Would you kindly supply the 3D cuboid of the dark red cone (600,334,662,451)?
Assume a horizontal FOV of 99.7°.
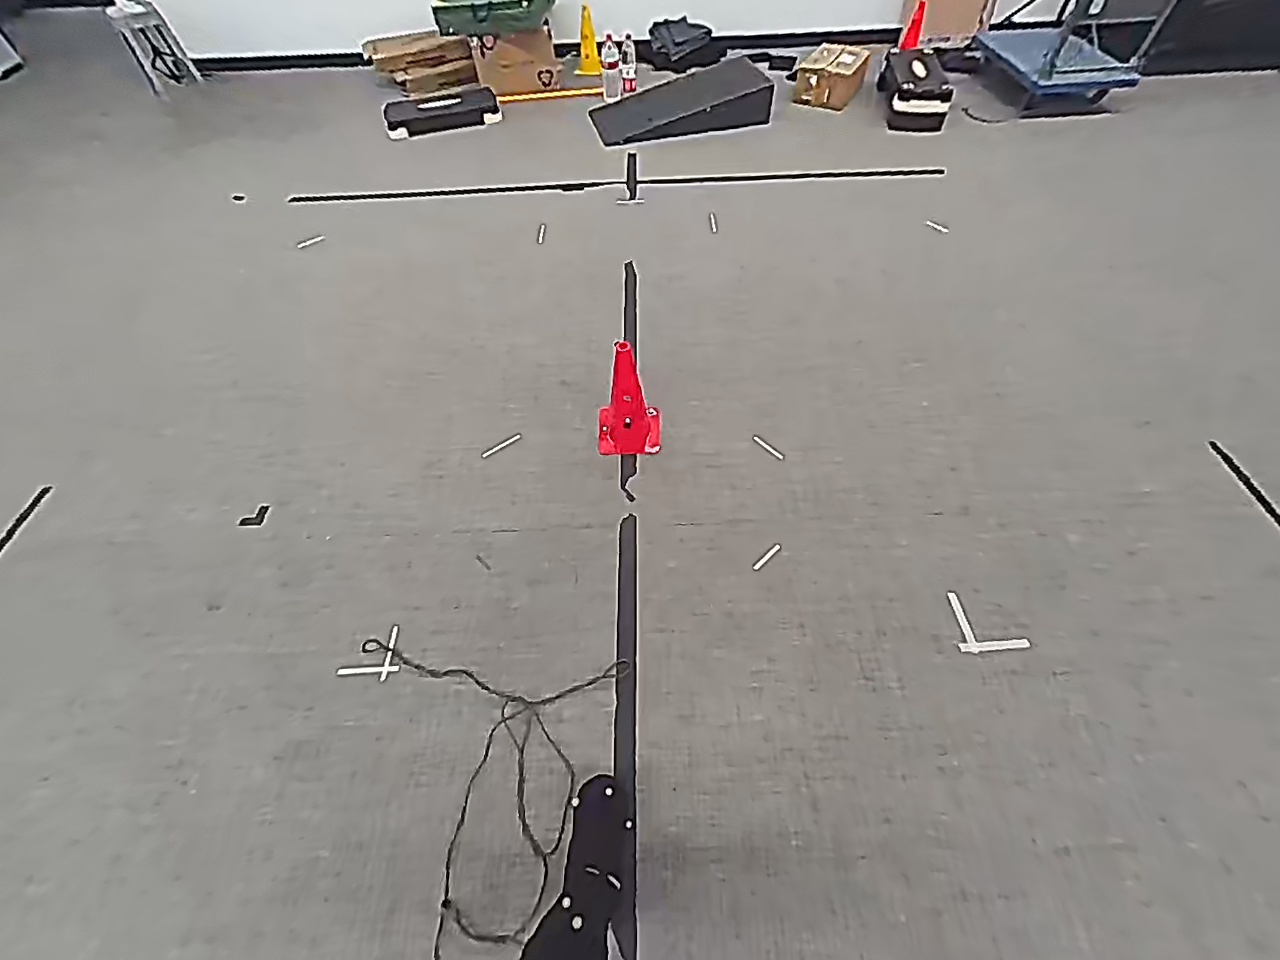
[{"bbox_3d":[-0.038,-0.273,1.620,0.201,0.394,0.202,-2,54,1],"label":"dark red cone"}]
